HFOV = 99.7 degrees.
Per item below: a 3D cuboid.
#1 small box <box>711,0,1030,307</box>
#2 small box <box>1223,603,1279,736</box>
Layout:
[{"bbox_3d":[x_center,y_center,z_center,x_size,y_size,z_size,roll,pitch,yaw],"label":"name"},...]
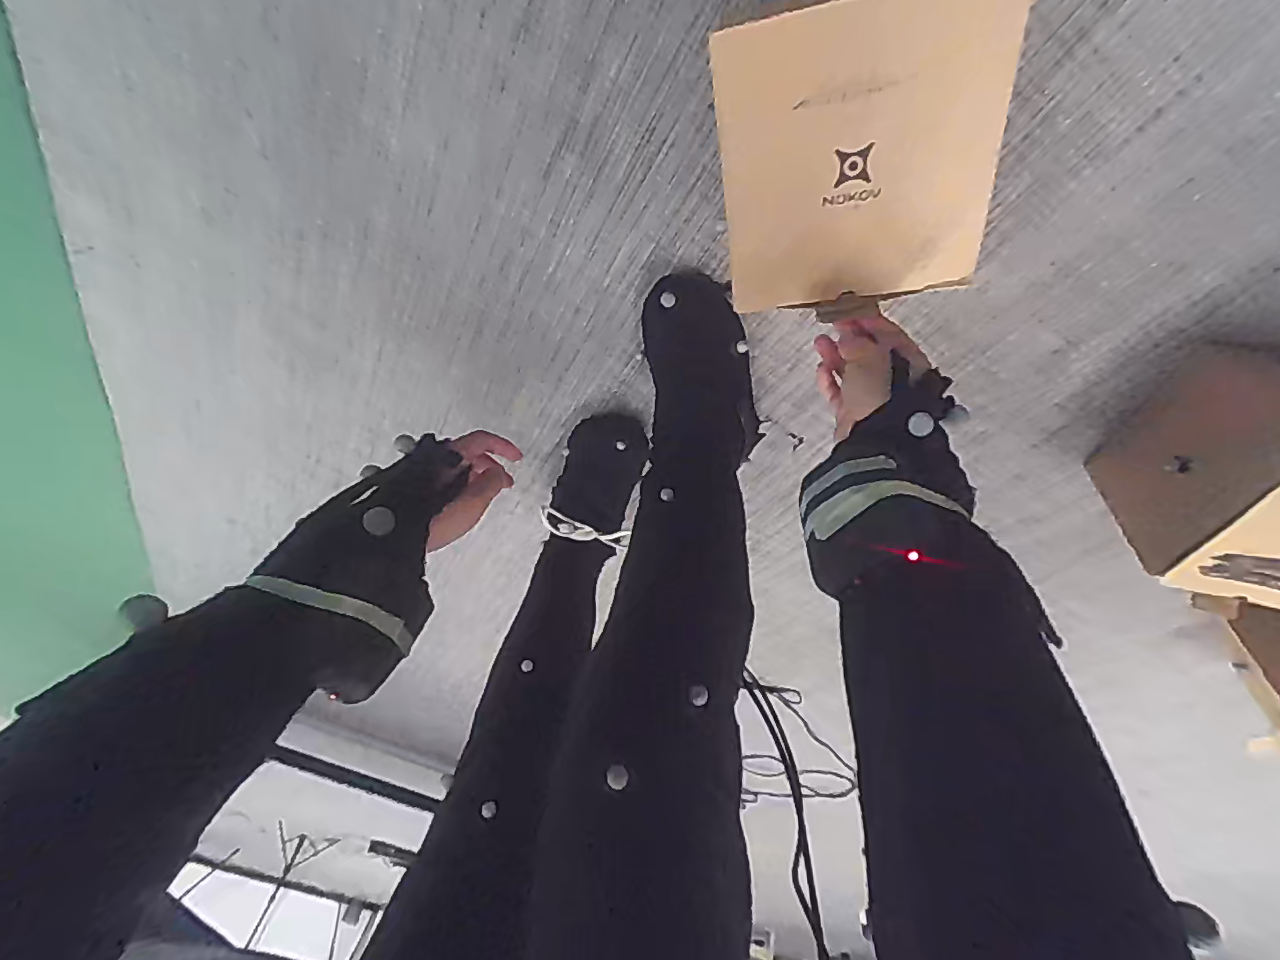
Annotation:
[{"bbox_3d":[0.149,-0.253,0.397,0.168,0.176,0.179,-3,132,15],"label":"small box"},{"bbox_3d":[0.933,0.263,0.707,0.179,0.176,0.168,-25,124,33],"label":"small box"}]
